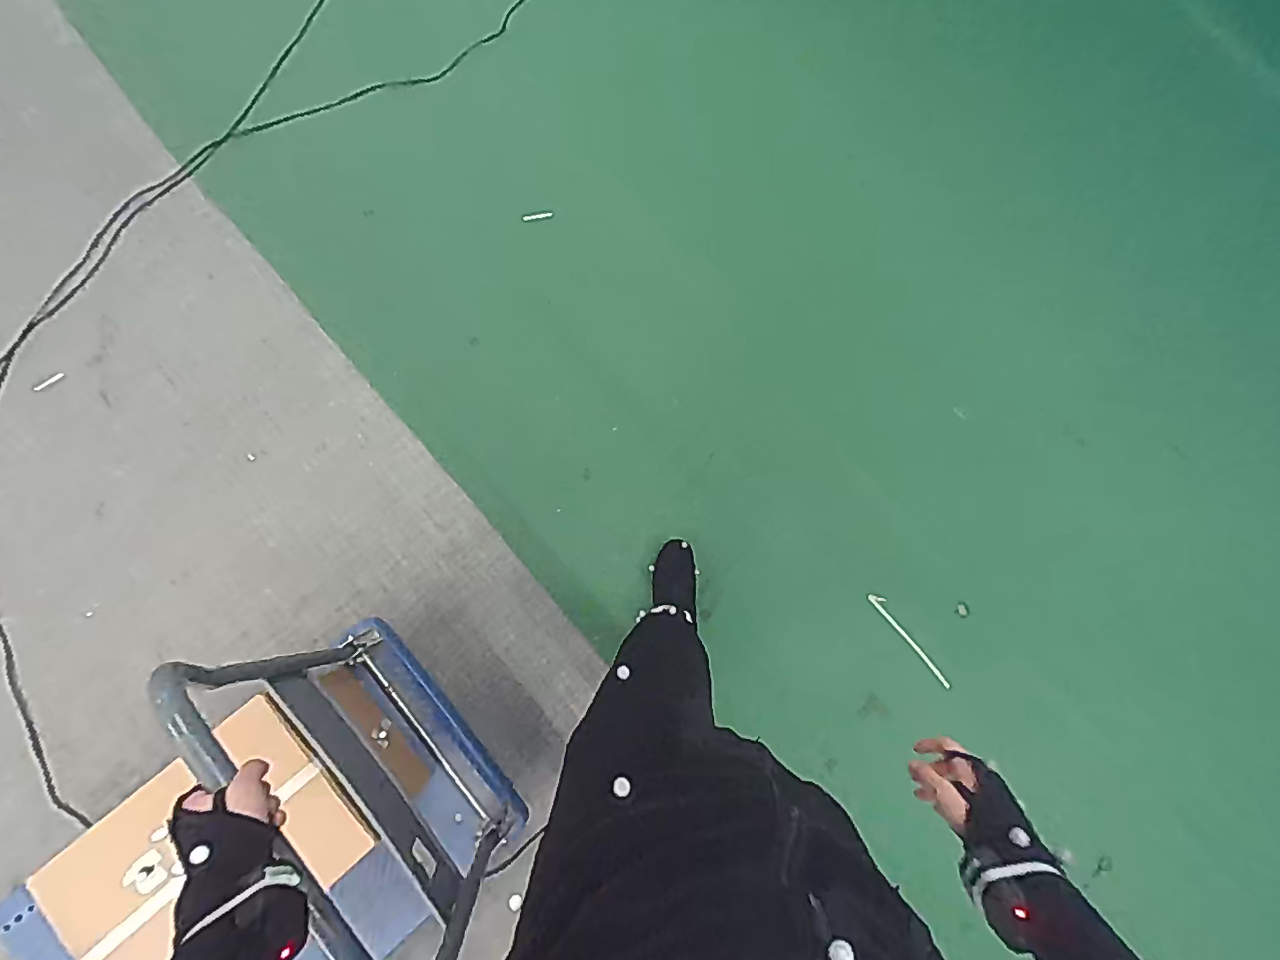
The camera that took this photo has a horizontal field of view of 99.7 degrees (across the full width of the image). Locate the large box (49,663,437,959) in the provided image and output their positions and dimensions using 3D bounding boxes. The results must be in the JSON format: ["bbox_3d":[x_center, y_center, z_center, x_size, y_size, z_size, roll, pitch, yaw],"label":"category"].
[{"bbox_3d":[-0.659,0.606,0.983,0.408,0.320,0.320,-40,85,-10],"label":"large box"}]
